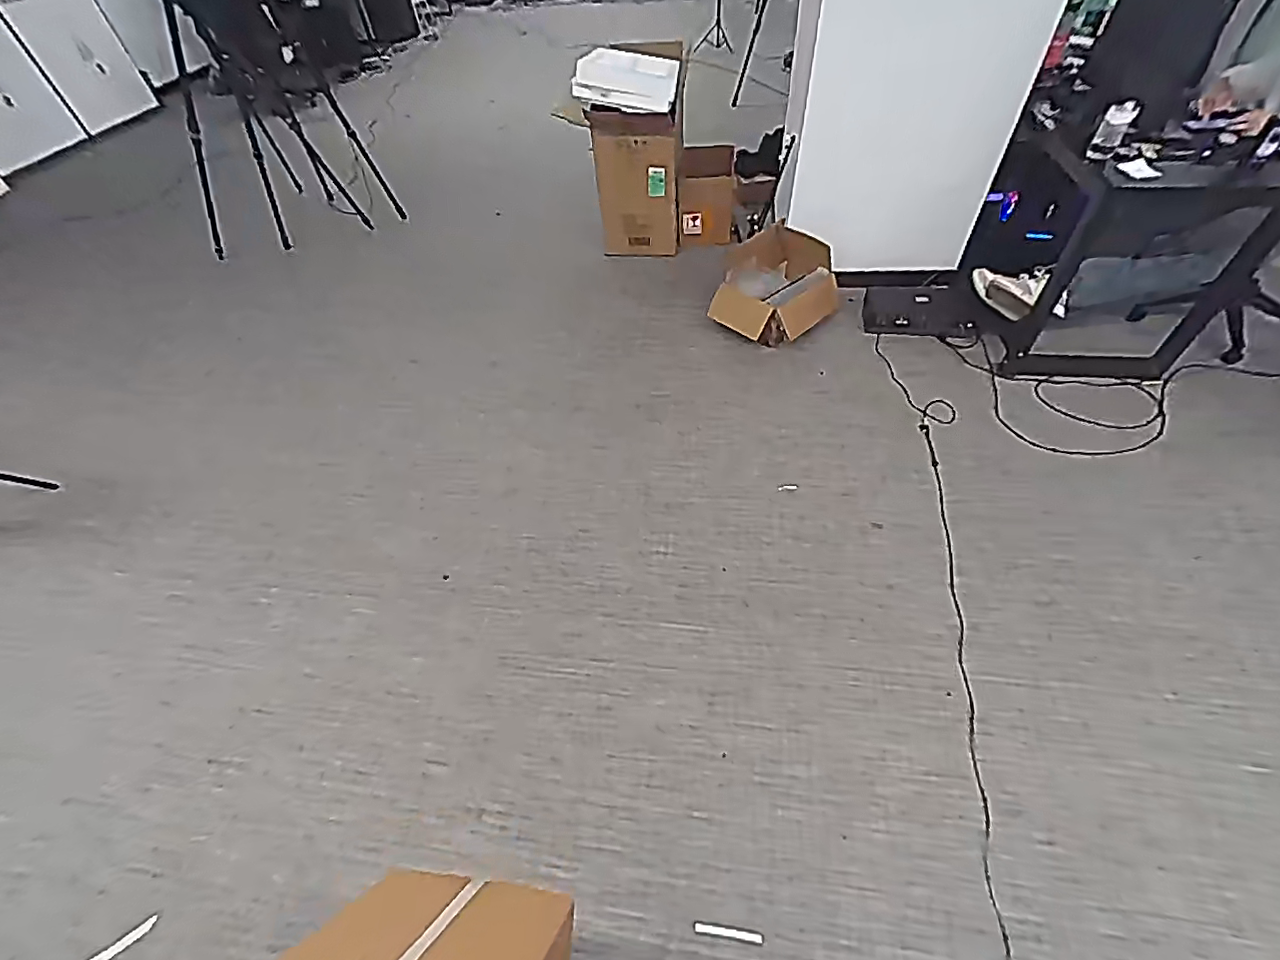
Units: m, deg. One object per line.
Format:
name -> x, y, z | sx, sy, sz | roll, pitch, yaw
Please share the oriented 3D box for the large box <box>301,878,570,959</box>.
large box -> -0.297, 0.771, 0.650 | 0.320, 0.408, 0.320 | 0, 78, 10
